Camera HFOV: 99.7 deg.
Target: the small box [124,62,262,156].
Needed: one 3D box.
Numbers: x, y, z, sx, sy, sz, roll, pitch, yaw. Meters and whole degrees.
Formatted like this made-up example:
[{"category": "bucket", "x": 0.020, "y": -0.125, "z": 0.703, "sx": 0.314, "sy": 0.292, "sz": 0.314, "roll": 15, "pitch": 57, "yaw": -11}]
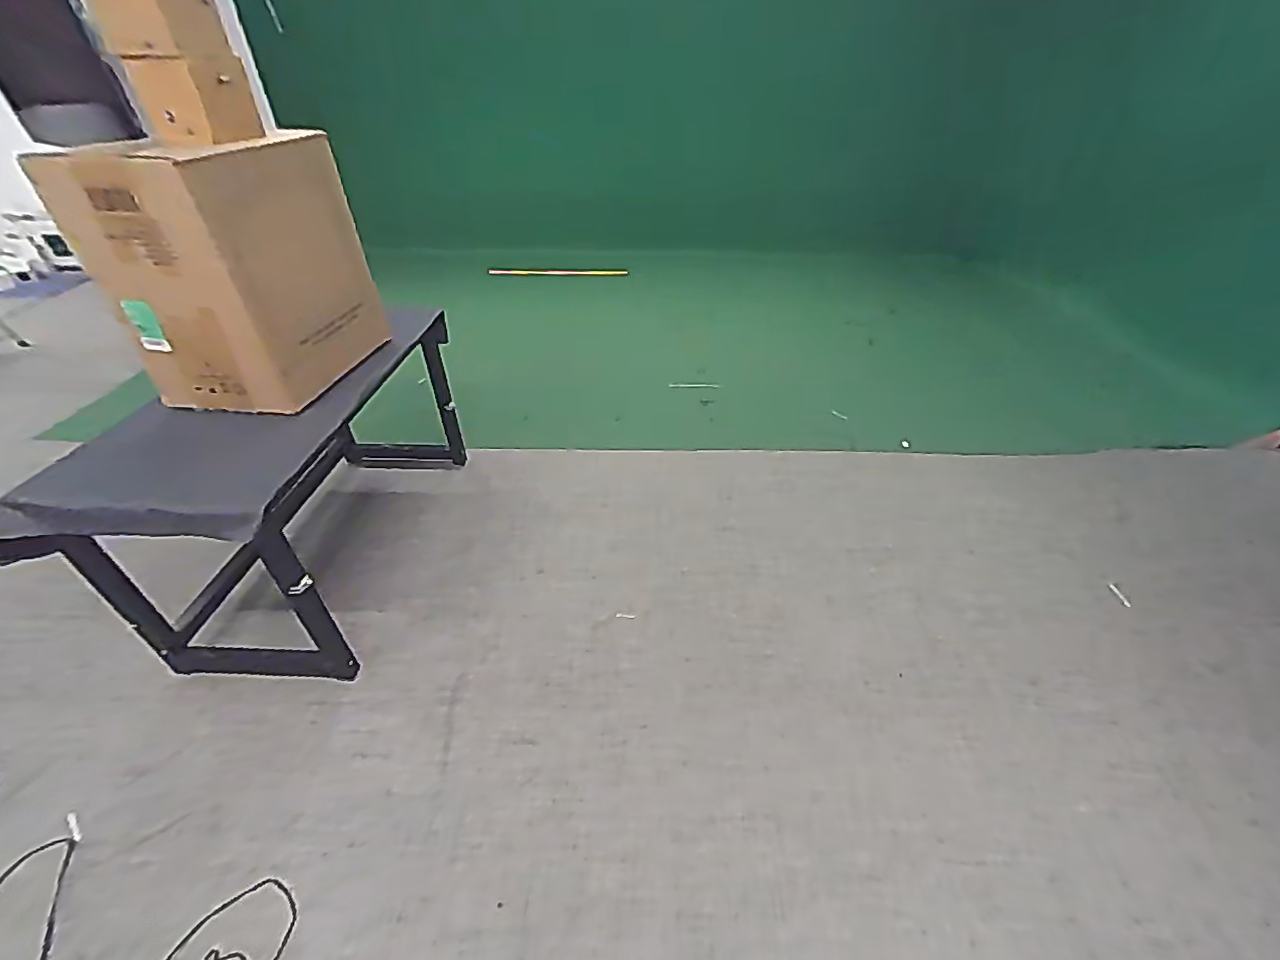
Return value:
[{"category": "small box", "x": -1.056, "y": -0.895, "z": 1.303, "sx": 0.168, "sy": 0.176, "sz": 0.179, "roll": 7, "pitch": 39, "yaw": 6}]
